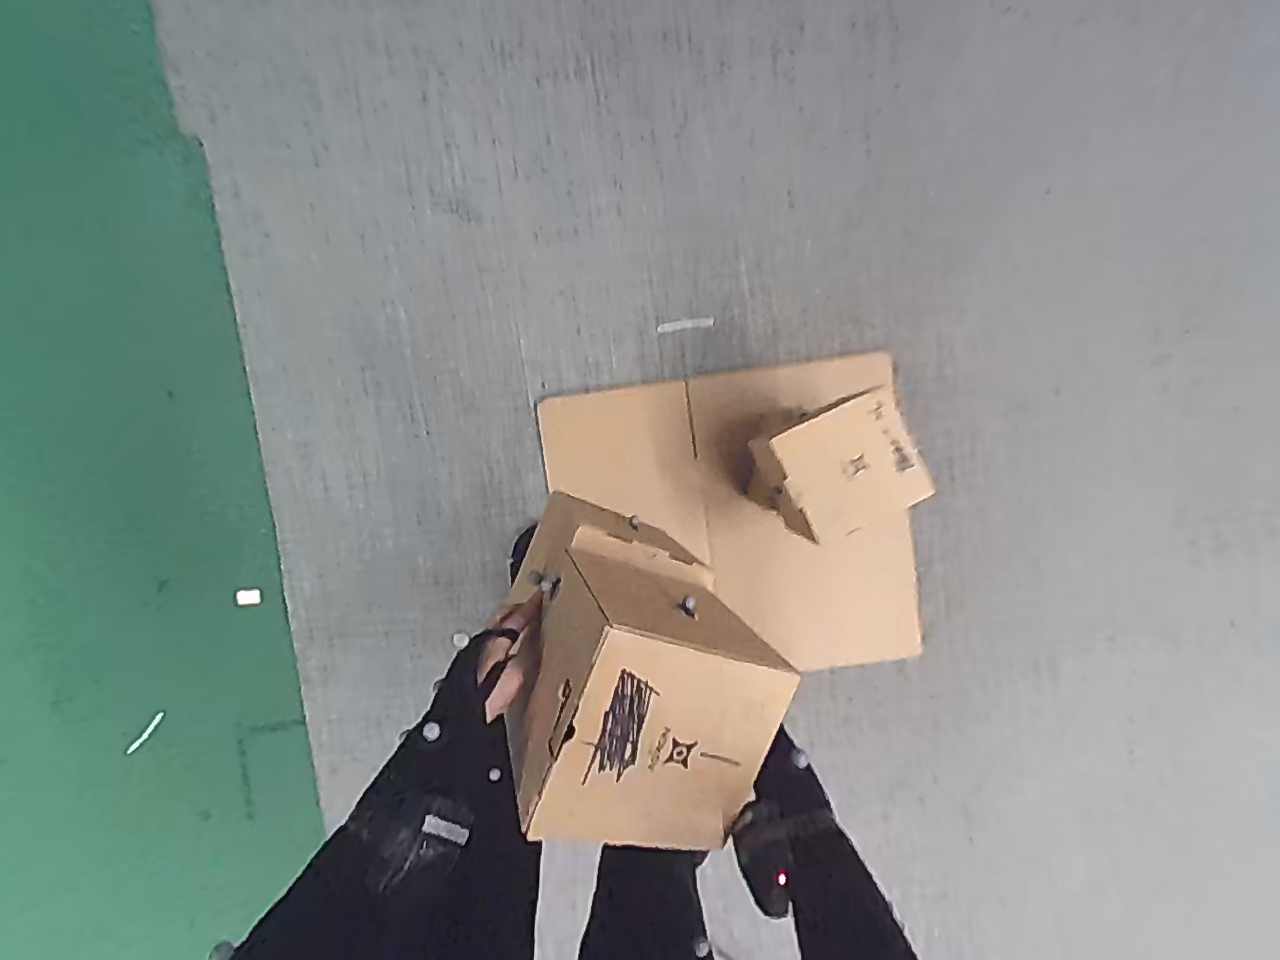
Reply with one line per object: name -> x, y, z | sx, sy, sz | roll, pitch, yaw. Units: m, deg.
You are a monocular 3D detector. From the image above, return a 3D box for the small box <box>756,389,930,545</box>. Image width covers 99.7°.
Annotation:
small box -> 0.288, -0.019, 0.816 | 0.179, 0.176, 0.168 | -25, 91, 2

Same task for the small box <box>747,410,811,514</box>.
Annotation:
small box -> 0.301, -0.019, 0.979 | 0.168, 0.176, 0.179 | 12, 93, 1

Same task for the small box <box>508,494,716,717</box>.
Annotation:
small box -> -0.045, 0.135, 0.627 | 0.168, 0.176, 0.179 | 23, 92, -20
